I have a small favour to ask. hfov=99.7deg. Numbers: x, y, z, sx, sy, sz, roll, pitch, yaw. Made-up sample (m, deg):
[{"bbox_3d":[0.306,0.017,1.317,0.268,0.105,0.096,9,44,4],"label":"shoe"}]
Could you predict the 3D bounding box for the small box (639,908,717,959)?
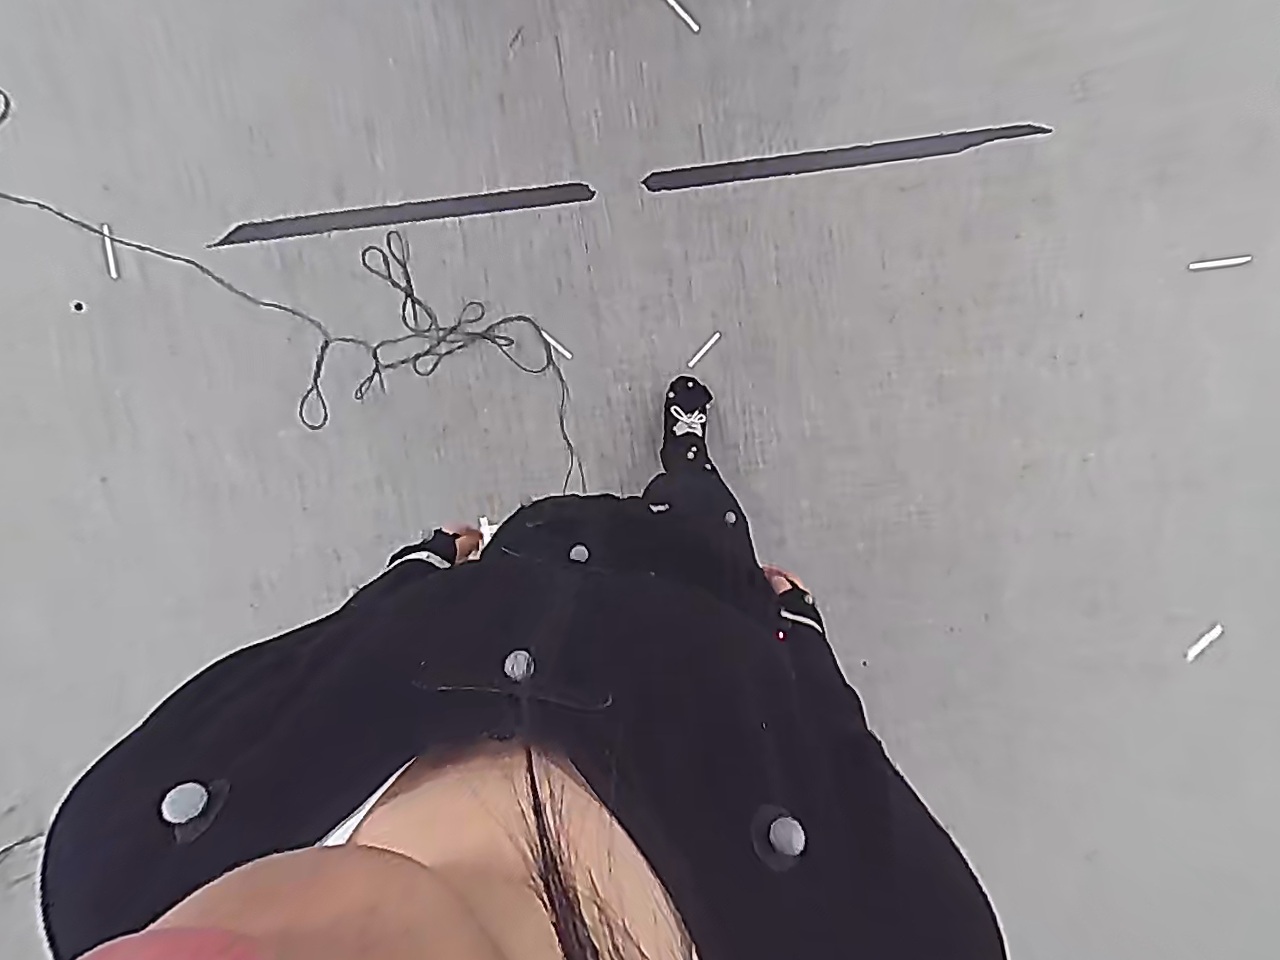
[{"bbox_3d":[0.087,0.832,0.858,0.168,0.176,0.179,-5,93,-1],"label":"small box"}]
